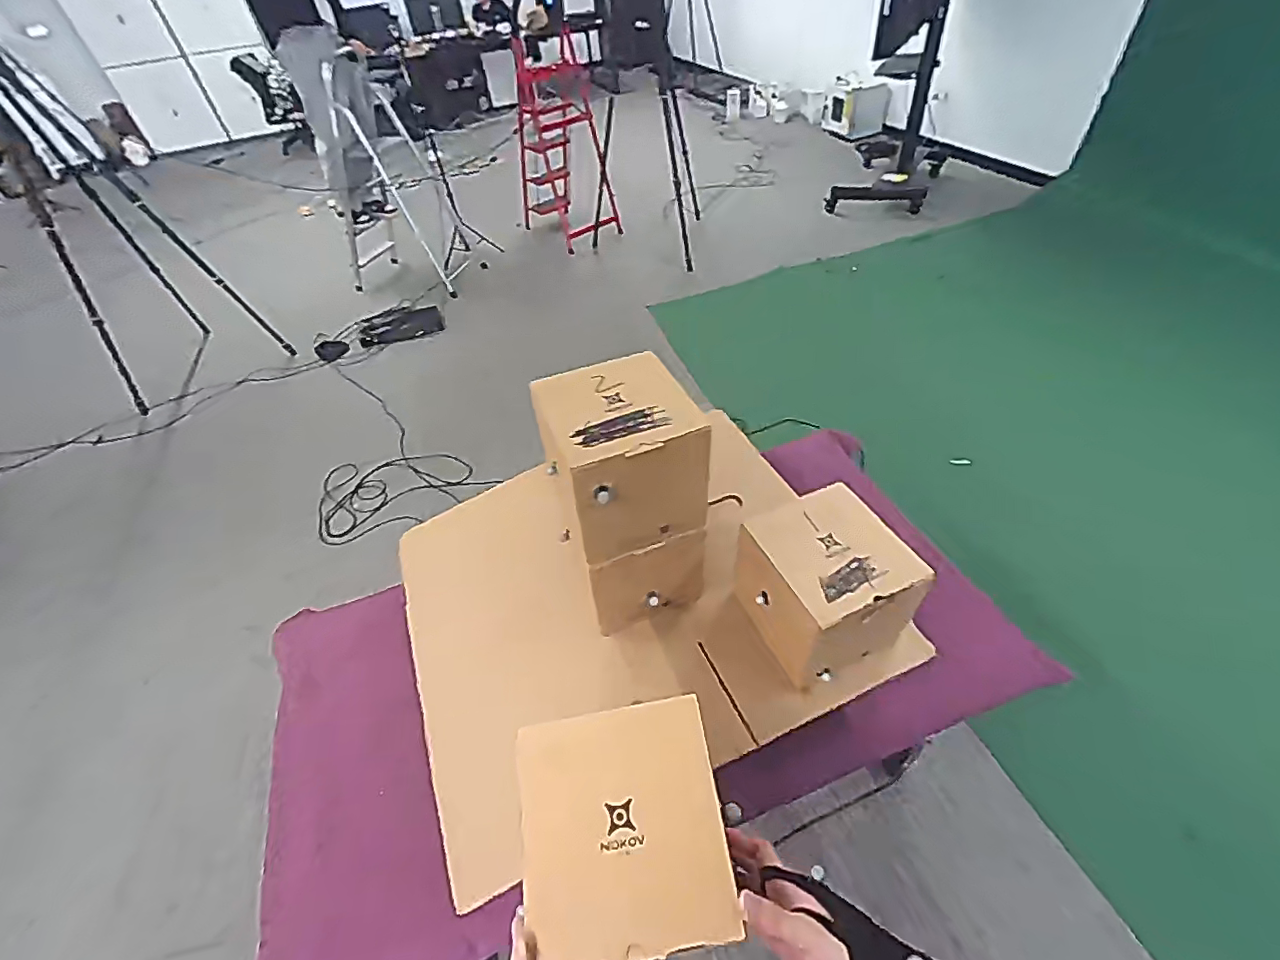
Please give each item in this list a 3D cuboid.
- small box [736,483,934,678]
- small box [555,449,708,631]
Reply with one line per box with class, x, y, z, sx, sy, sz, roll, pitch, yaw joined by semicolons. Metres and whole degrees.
small box;0.245;0.140;0.726;0.168;0.176;0.179;-19;47;-14
small box;-0.015;0.088;0.795;0.168;0.176;0.179;-18;48;-14
